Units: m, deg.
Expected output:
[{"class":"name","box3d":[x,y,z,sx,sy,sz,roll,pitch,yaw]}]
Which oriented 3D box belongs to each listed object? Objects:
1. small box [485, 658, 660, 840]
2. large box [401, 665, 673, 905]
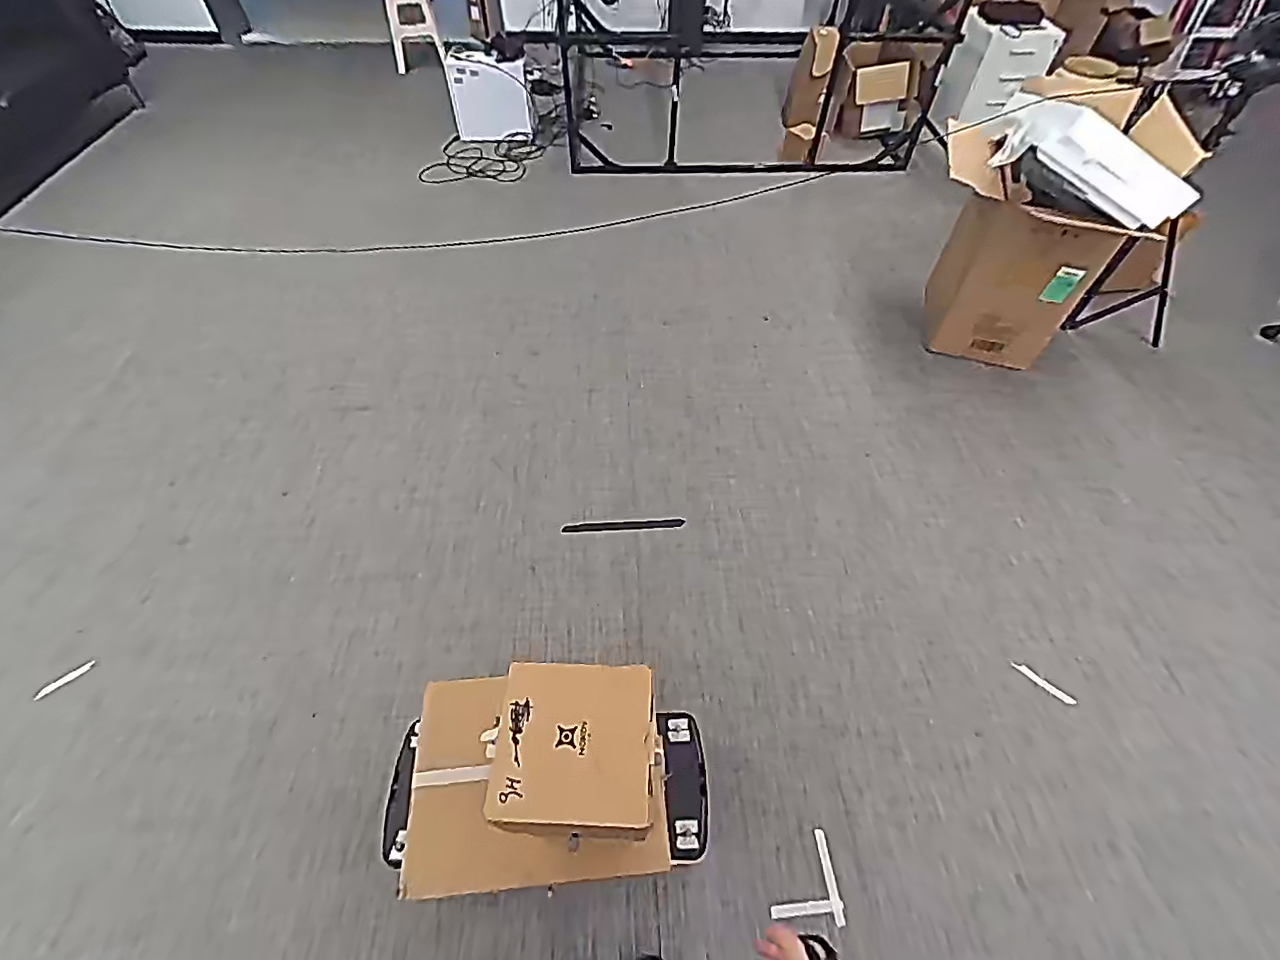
[{"class":"small box","box3d":[-0.071,0.332,0.661,0.179,0.176,0.168,4,52,0]},{"class":"large box","box3d":[-0.162,0.561,0.998,0.408,0.320,0.320,-4,53,-3]}]
